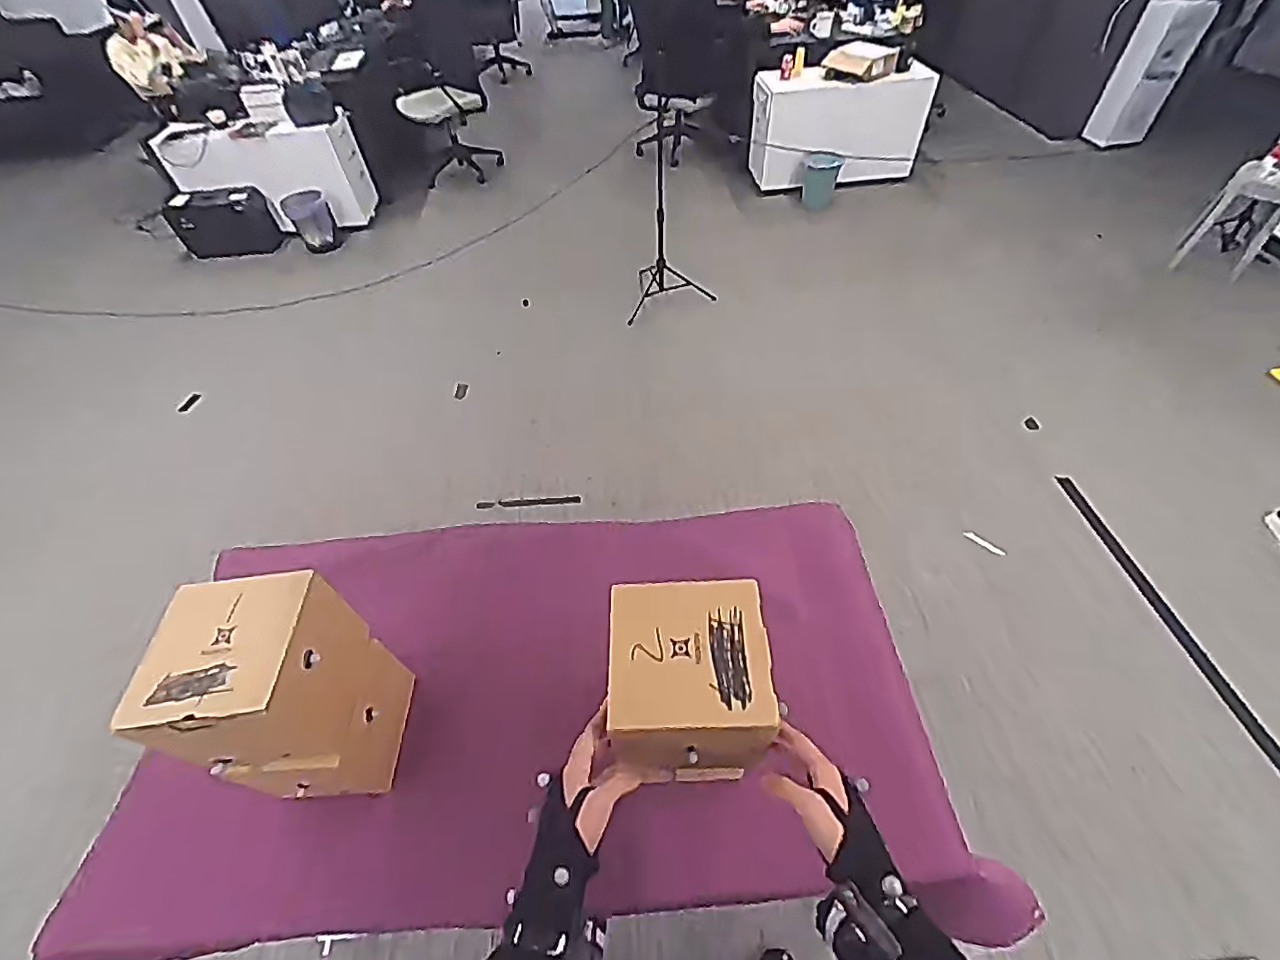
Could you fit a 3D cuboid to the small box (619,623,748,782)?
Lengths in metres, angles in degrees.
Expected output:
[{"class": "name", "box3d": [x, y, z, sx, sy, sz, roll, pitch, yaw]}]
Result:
[{"class": "small box", "box3d": [0.058, 0.329, 0.789, 0.168, 0.176, 0.179, -3, 49, 1]}]

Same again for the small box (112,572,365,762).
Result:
[{"class": "small box", "box3d": [-0.474, 0.239, 0.677, 0.168, 0.176, 0.179, -6, 50, -2]}]

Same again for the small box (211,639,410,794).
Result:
[{"class": "small box", "box3d": [-0.462, 0.353, 0.796, 0.168, 0.176, 0.179, -2, 50, 0]}]
